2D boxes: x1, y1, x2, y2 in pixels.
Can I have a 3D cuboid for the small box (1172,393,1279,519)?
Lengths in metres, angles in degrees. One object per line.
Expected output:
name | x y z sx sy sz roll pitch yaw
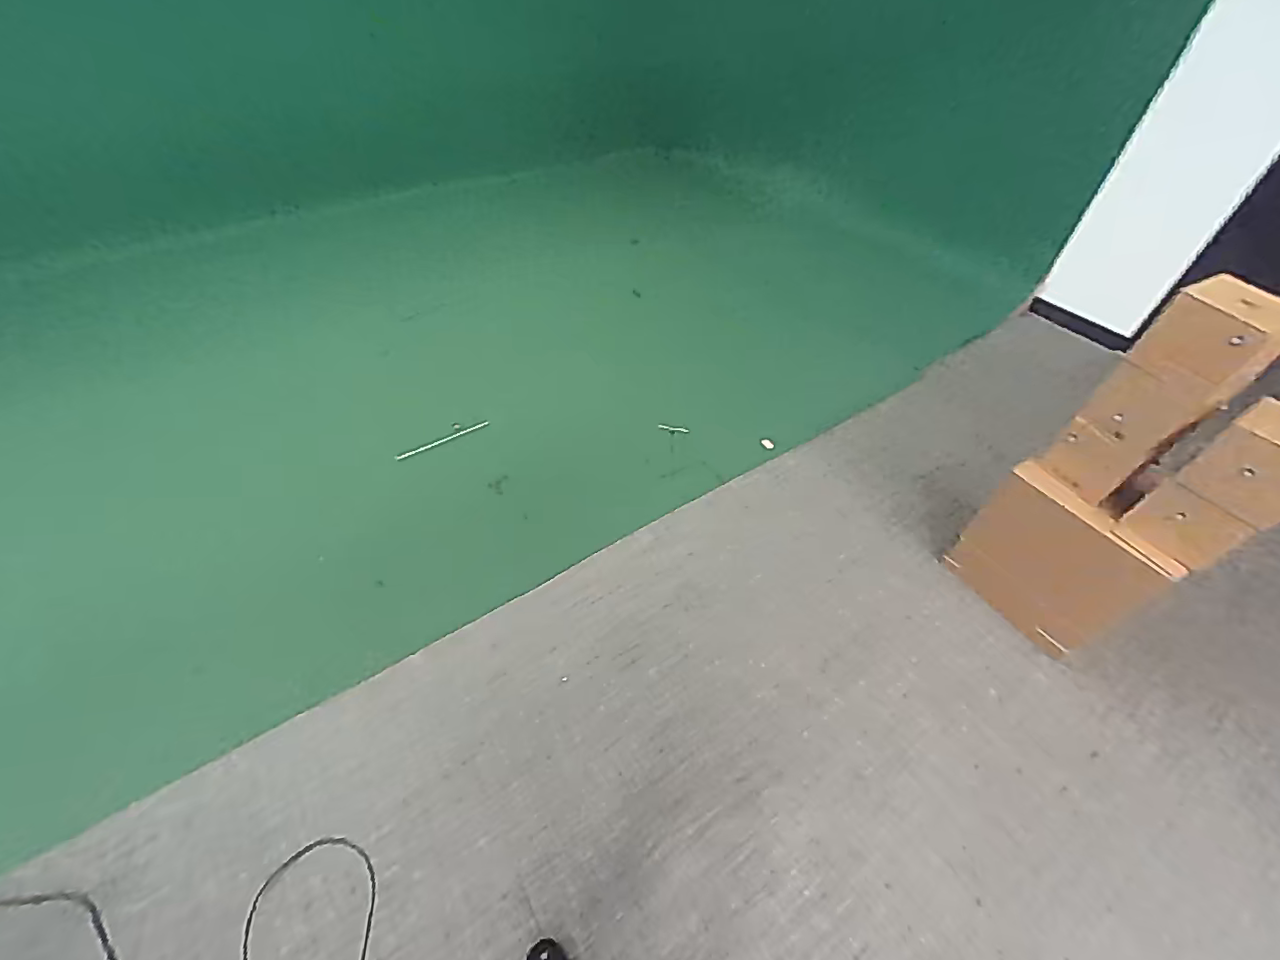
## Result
small box | 1.278 -0.043 1.111 0.168 0.176 0.179 -26 53 -22

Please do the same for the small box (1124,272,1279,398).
small box | 1.176 -0.298 1.117 0.168 0.176 0.179 -21 54 -18
